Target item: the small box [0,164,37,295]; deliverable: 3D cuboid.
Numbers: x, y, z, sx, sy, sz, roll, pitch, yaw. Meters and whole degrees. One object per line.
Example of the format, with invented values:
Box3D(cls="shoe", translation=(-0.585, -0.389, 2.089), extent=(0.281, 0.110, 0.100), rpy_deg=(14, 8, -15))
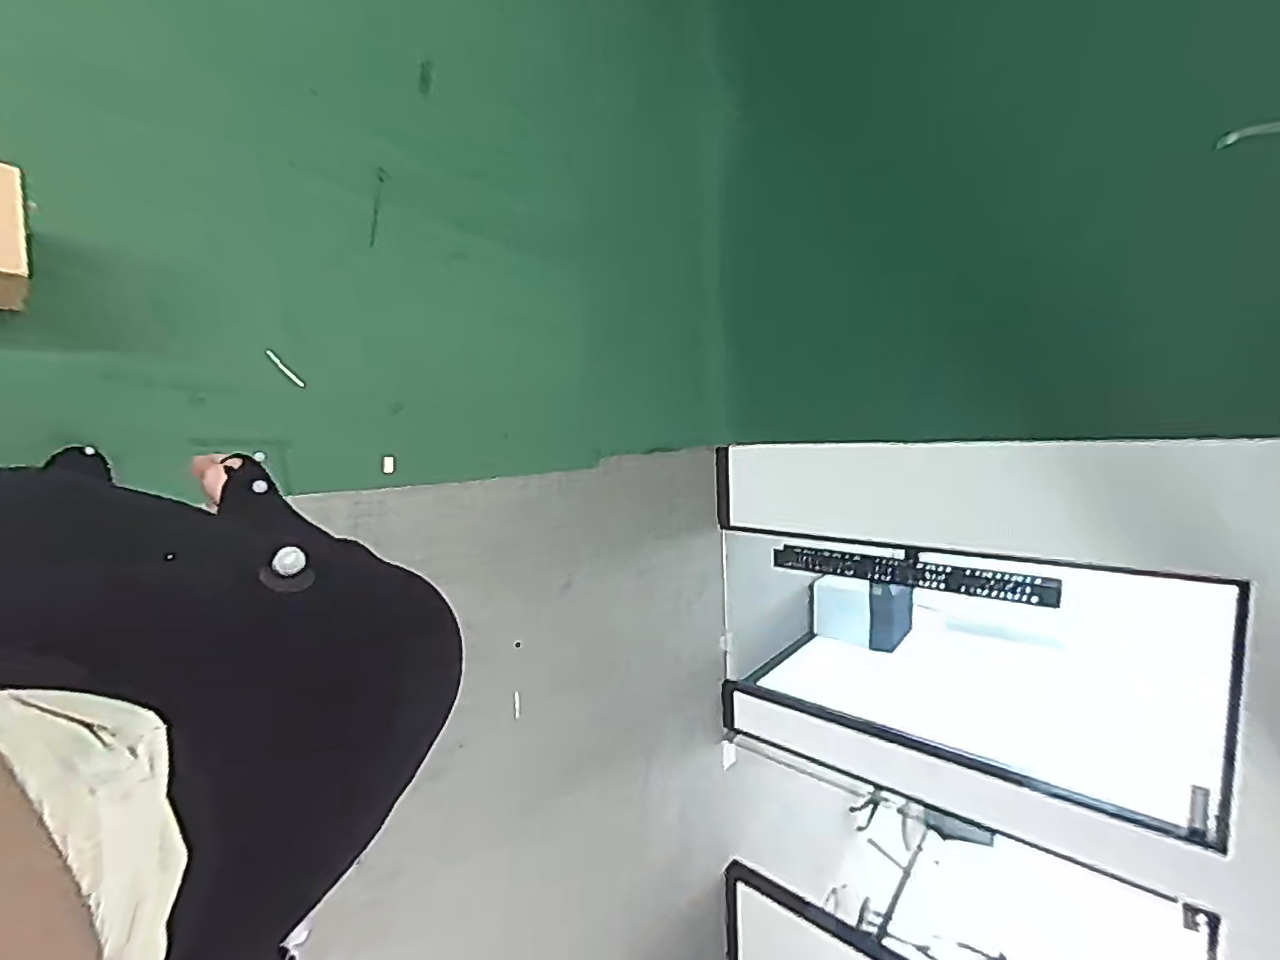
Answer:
Box3D(cls="small box", translation=(-1.113, -0.417, 0.878), extent=(0.168, 0.176, 0.179), rpy_deg=(-6, 97, -49))
